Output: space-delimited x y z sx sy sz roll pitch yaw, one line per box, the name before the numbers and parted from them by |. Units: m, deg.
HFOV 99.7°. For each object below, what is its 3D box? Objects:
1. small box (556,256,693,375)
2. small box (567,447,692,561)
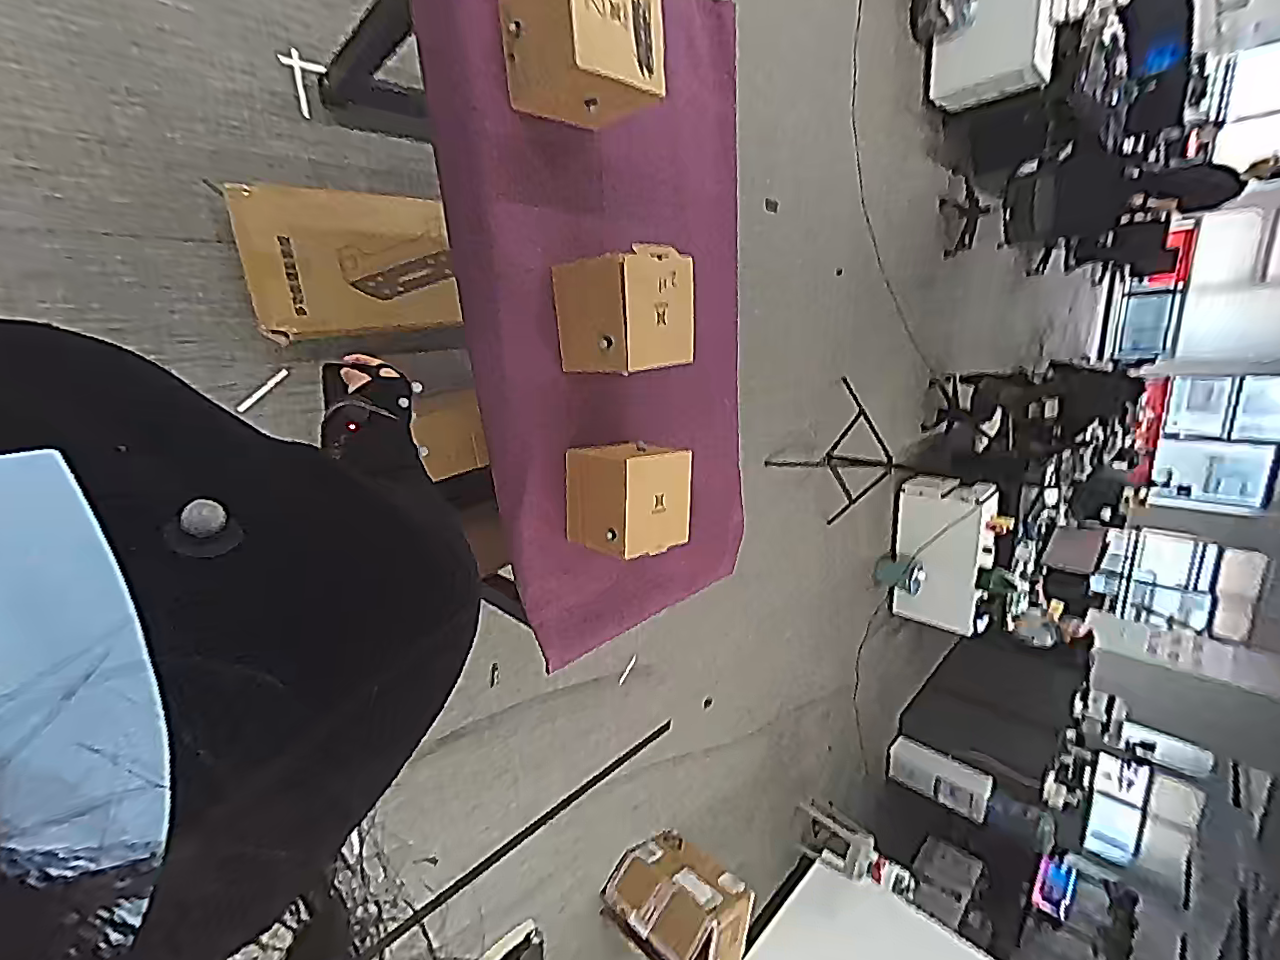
small box | -0.026 -0.279 0.930 0.168 0.176 0.179 -20 112 -43
small box | -0.022 0.032 1.001 0.168 0.176 0.179 -9 105 -44
